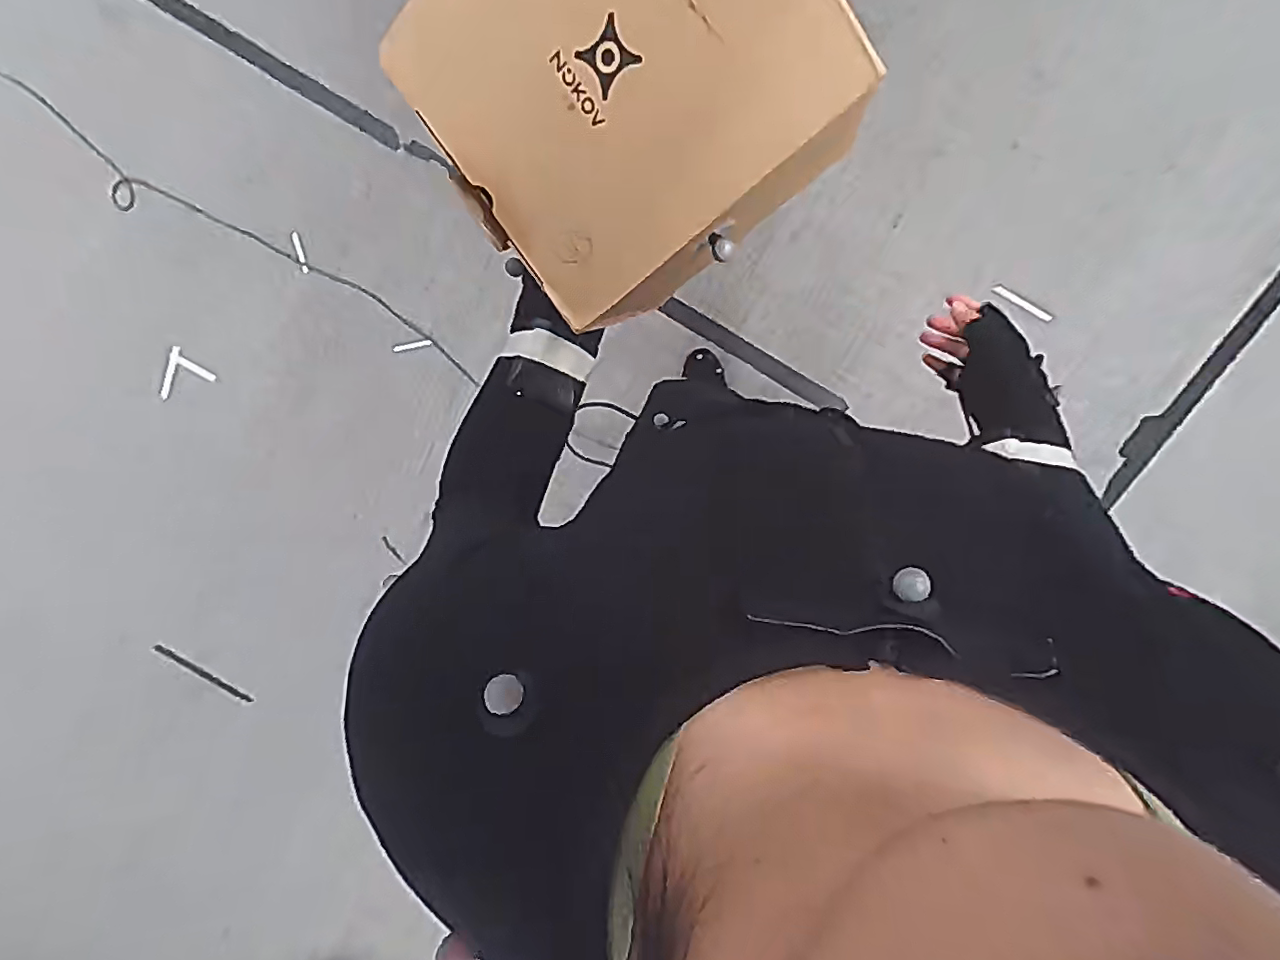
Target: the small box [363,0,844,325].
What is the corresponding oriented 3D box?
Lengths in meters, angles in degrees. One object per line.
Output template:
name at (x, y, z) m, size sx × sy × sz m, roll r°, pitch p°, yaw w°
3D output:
small box at (-0.003, -0.215, 0.310) m, size 0.179 × 0.176 × 0.168 m, roll -32°, pitch 100°, yaw 27°
